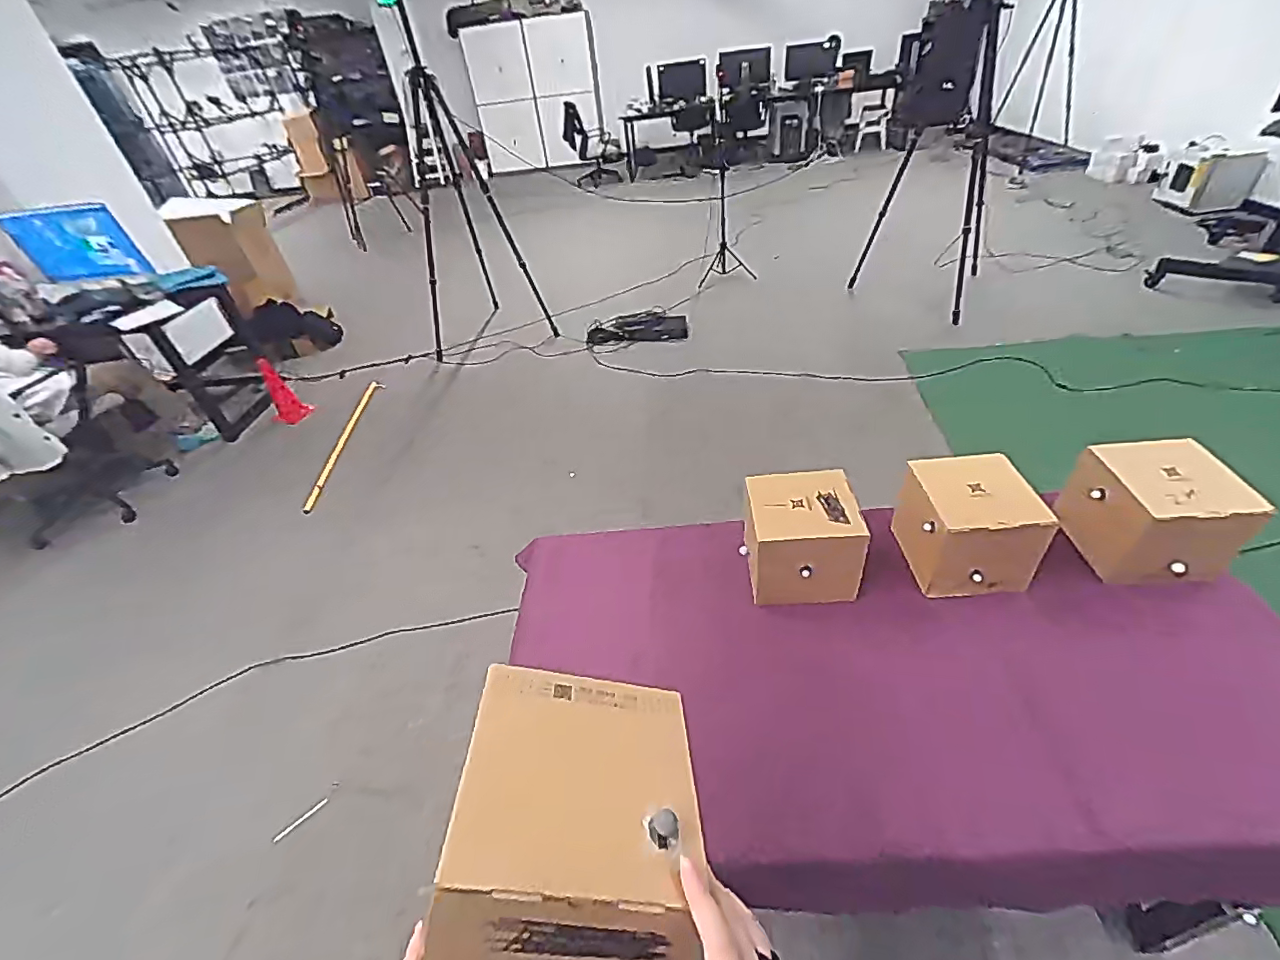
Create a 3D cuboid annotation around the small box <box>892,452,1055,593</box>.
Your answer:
[{"bbox_3d":[0.559,0.073,0.940,0.168,0.176,0.179,-5,41,5],"label":"small box"}]

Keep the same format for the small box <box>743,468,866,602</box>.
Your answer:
[{"bbox_3d":[0.279,0.099,0.959,0.179,0.176,0.168,-5,40,6],"label":"small box"}]

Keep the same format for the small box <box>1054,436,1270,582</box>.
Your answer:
[{"bbox_3d":[0.846,0.049,0.906,0.168,0.176,0.179,-5,42,7],"label":"small box"}]
